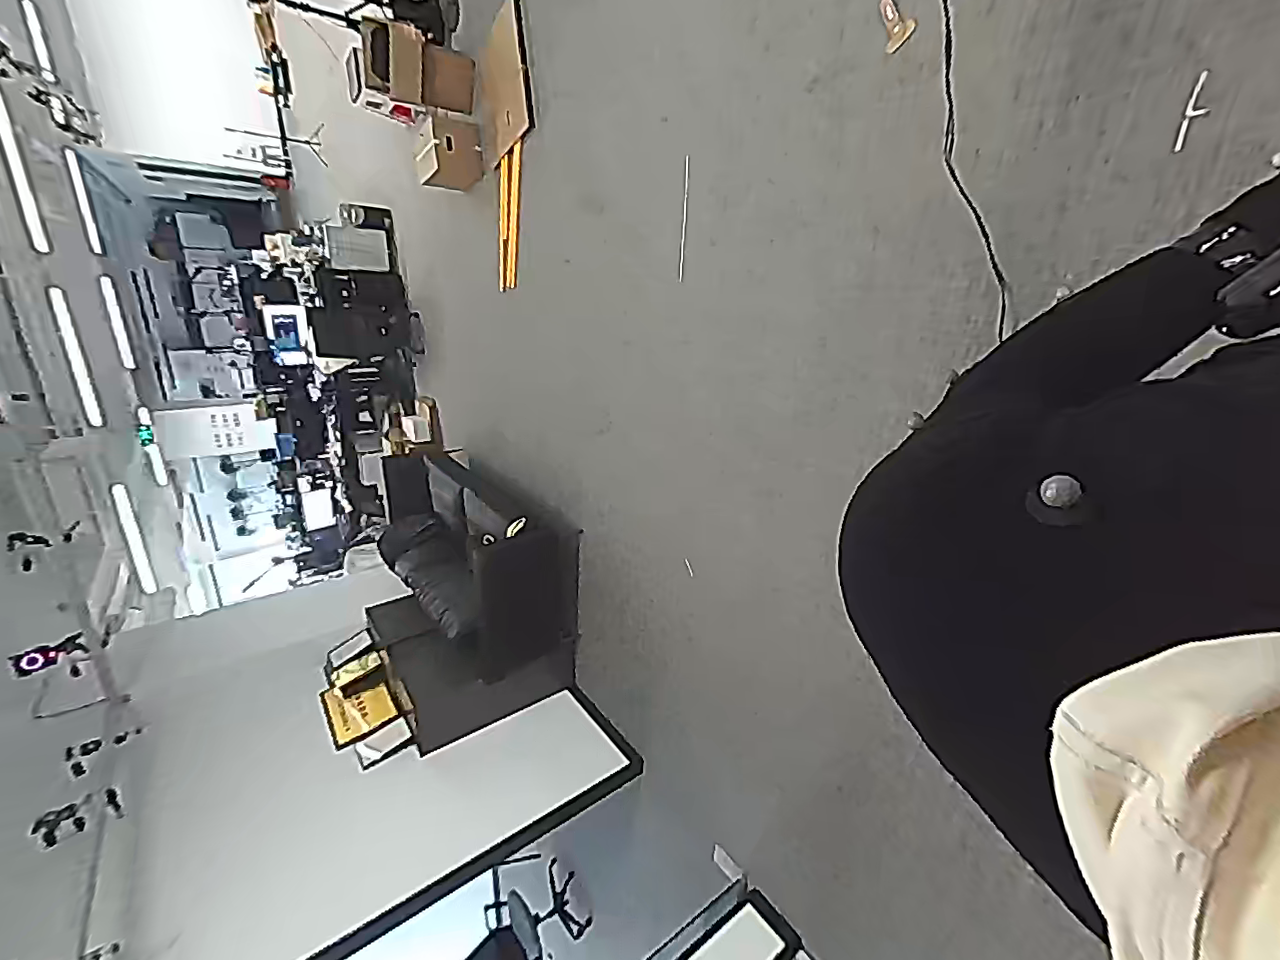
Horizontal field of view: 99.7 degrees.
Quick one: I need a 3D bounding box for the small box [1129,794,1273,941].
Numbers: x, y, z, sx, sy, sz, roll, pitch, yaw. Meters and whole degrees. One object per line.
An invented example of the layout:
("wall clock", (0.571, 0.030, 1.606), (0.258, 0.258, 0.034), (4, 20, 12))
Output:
("small box", (1.273, 0.866, 1.227), (0.179, 0.176, 0.168), (31, 124, 45))
